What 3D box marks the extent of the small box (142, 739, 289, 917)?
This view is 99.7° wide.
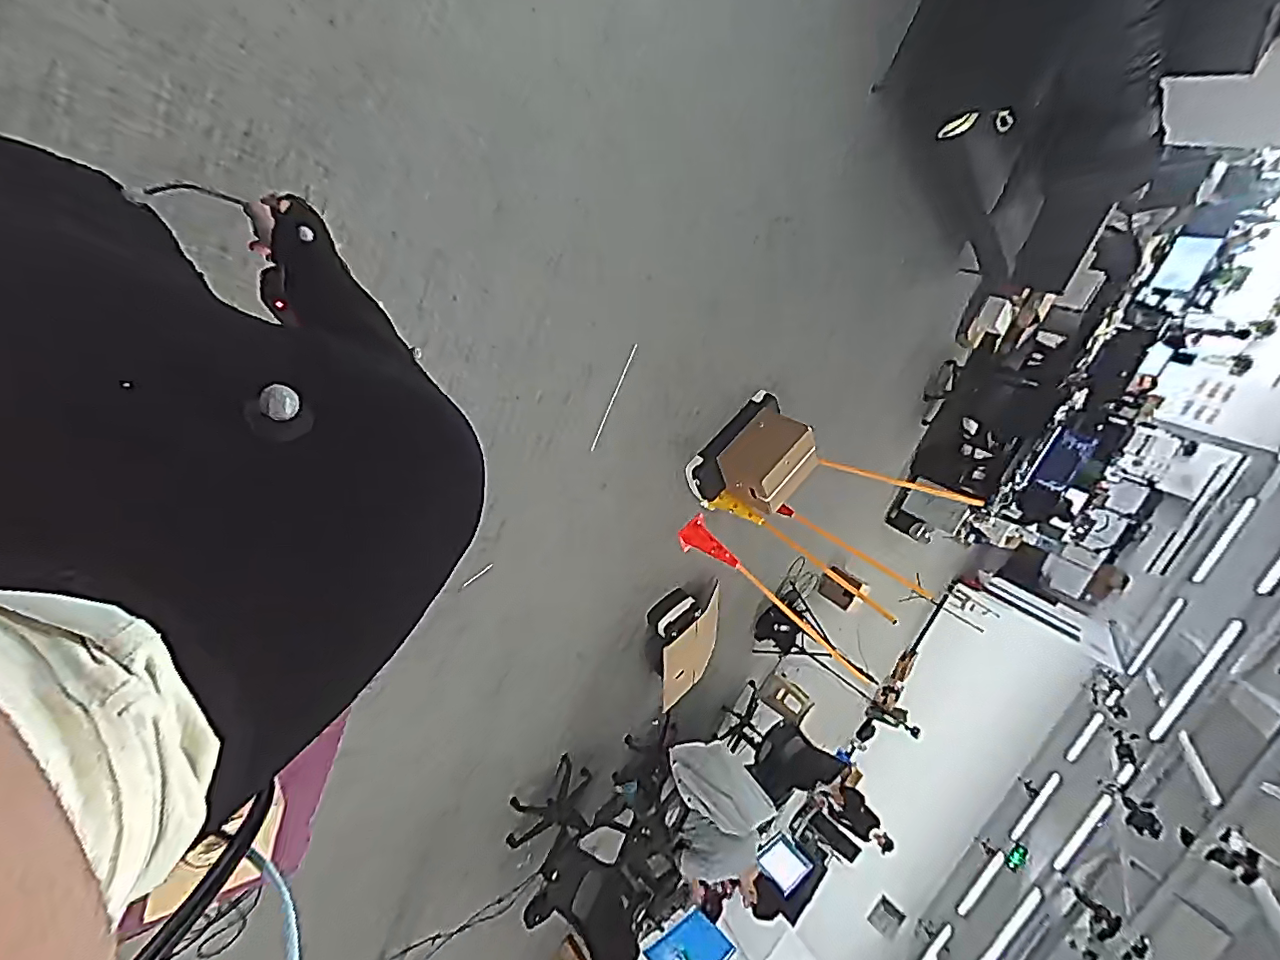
[{"bbox_3d":[-0.740,0.581,0.937,0.168,0.176,0.179,5,113,-48],"label":"small box"}]
